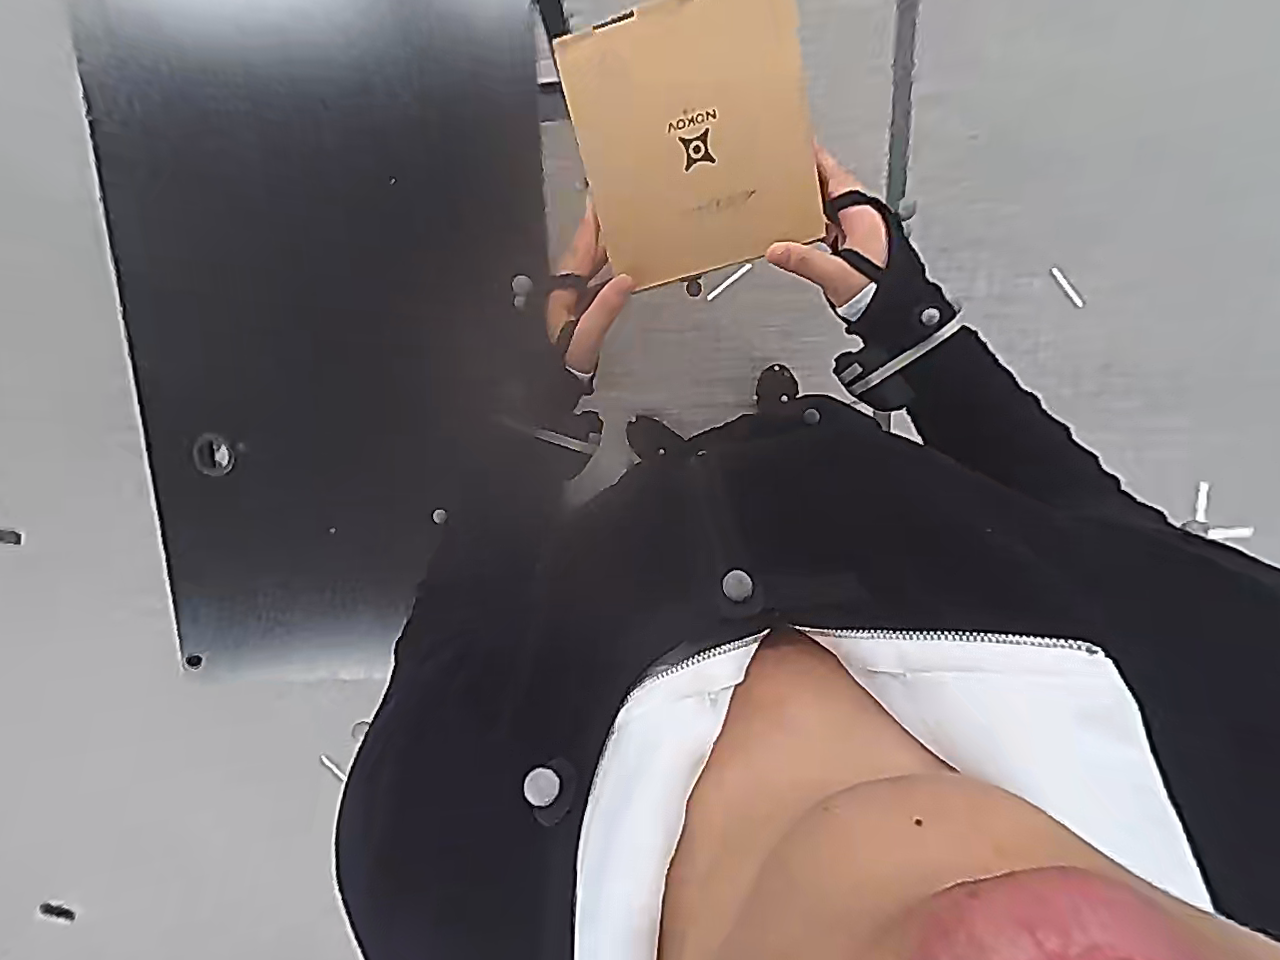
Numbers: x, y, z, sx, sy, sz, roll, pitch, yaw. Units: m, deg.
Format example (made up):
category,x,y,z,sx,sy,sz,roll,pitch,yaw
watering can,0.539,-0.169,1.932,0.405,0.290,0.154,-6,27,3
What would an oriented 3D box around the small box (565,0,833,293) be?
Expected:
category,x,y,z,sx,sy,sz,roll,pitch,yaw
small box,0.045,-0.265,0.458,0.168,0.176,0.179,-13,109,5
